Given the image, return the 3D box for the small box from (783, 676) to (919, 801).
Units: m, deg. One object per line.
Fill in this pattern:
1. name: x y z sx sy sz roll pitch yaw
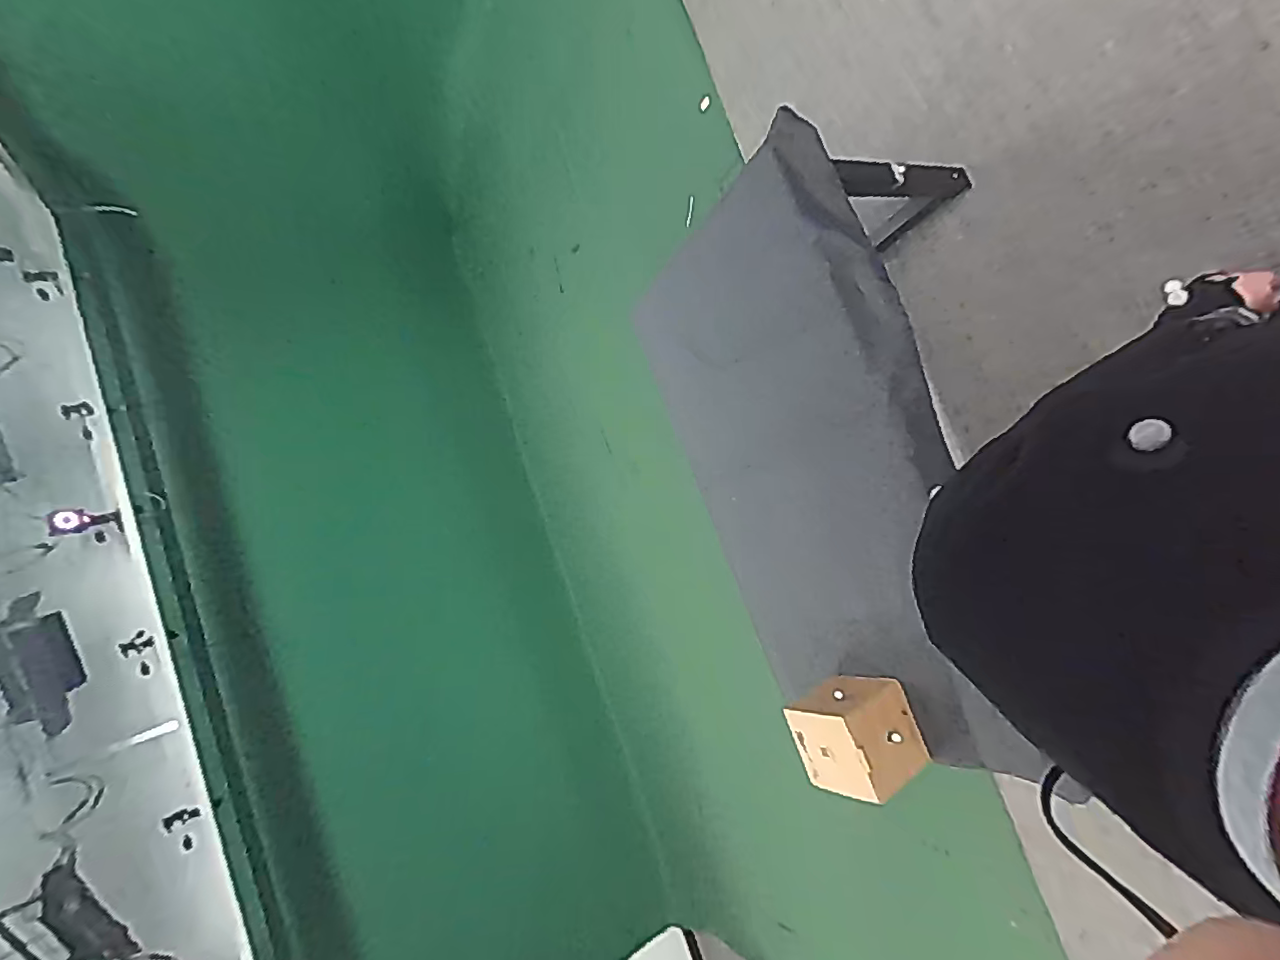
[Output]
1. small box: 0.435 0.513 1.102 0.179 0.176 0.168 -32 76 58
